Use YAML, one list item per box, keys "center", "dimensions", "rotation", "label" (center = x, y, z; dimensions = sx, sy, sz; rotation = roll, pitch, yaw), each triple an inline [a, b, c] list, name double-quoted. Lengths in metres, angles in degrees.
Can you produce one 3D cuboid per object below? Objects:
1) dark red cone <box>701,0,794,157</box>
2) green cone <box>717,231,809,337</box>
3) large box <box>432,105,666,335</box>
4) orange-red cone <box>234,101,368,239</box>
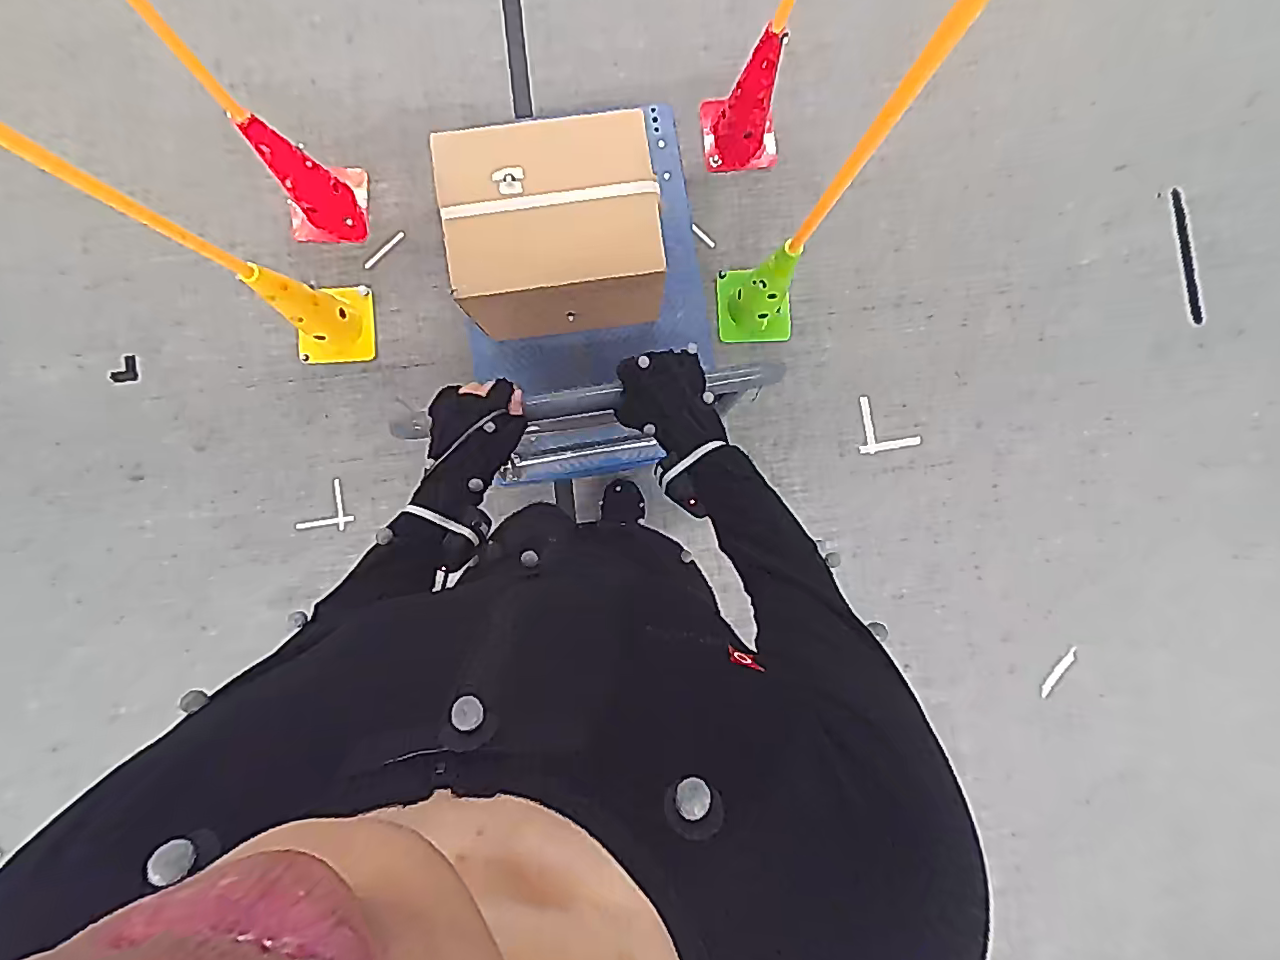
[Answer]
- center: [0.285, -0.982, 1.308]
  dimensions: [0.201, 0.394, 0.202]
  rotation: [-7, 90, -4]
  label: "dark red cone"
- center: [0.324, -0.499, 1.319]
  dimensions: [0.202, 0.368, 0.200]
  rotation: [-3, 89, -3]
  label: "green cone"
- center: [-0.171, -0.525, 1.158]
  dimensions: [0.408, 0.320, 0.320]
  rotation: [-8, 90, -1]
  label: "large box"
- center: [-0.826, -0.757, 1.284]
  dimensions: [0.198, 0.360, 0.199]
  rotation: [0, 88, -3]
  label: "orange-red cone"
